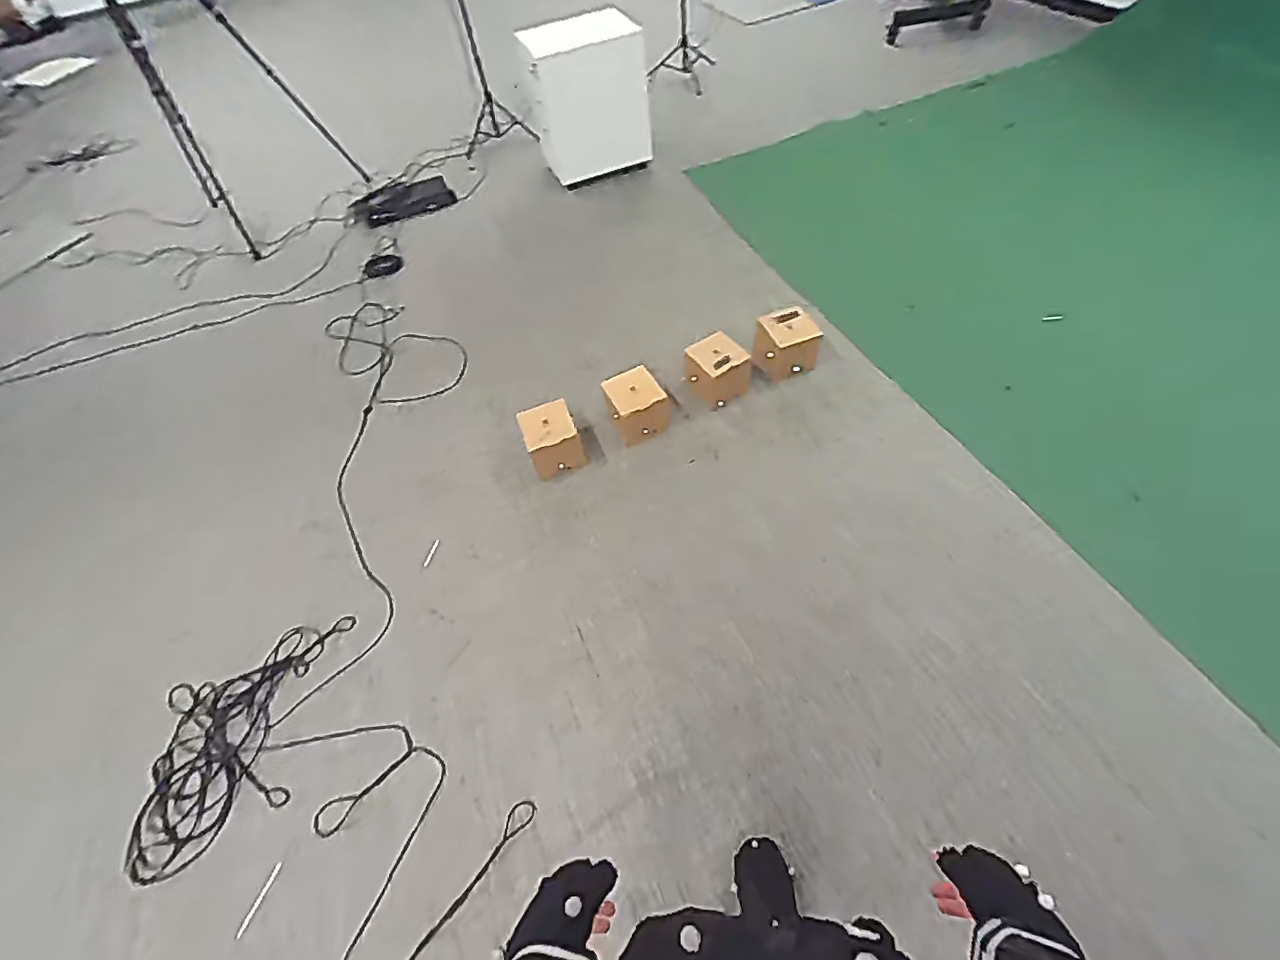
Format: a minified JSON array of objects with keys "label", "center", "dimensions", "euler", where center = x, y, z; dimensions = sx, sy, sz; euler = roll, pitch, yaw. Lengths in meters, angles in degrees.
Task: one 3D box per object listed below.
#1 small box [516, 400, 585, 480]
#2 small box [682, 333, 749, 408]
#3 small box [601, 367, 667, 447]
[{"label":"small box","center":[-0.296,-0.131,1.802],"dimensions":[0.168,0.176,0.179],"euler":[-21,56,-7]},{"label":"small box","center":[0.265,-0.379,1.913],"dimensions":[0.168,0.176,0.179],"euler":[-29,57,-14]},{"label":"small box","center":[-0.019,-0.248,1.853],"dimensions":[0.168,0.176,0.179],"euler":[-26,57,-11]}]
